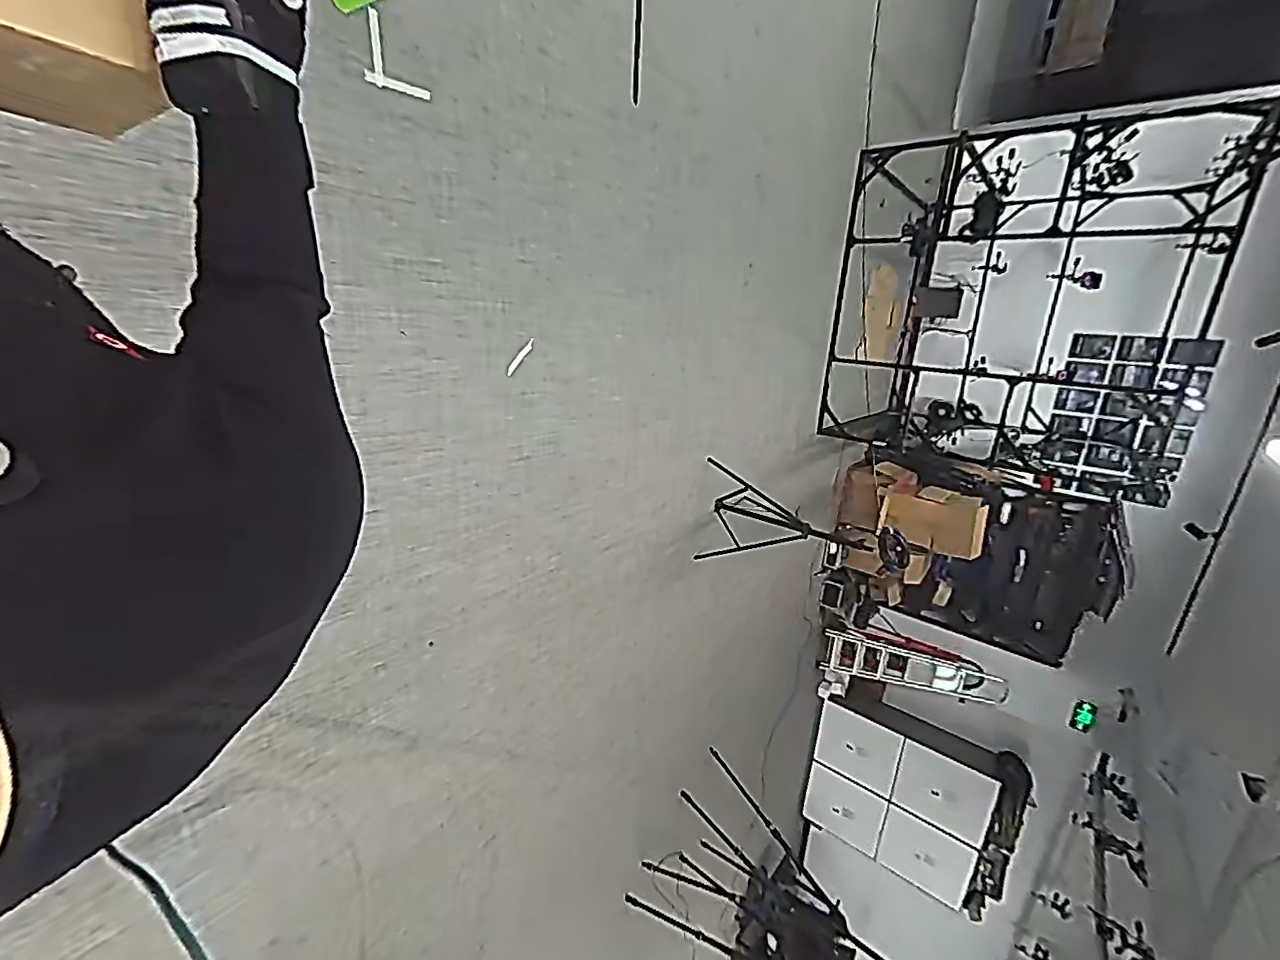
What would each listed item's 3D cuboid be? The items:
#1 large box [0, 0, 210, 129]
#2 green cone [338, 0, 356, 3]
[{"bbox_3d":[-0.533,-0.437,0.280,0.408,0.320,0.320,-13,116,-52],"label":"large box"},{"bbox_3d":[-0.533,-1.179,1.115,0.202,0.368,0.200,-56,142,-26],"label":"green cone"}]
